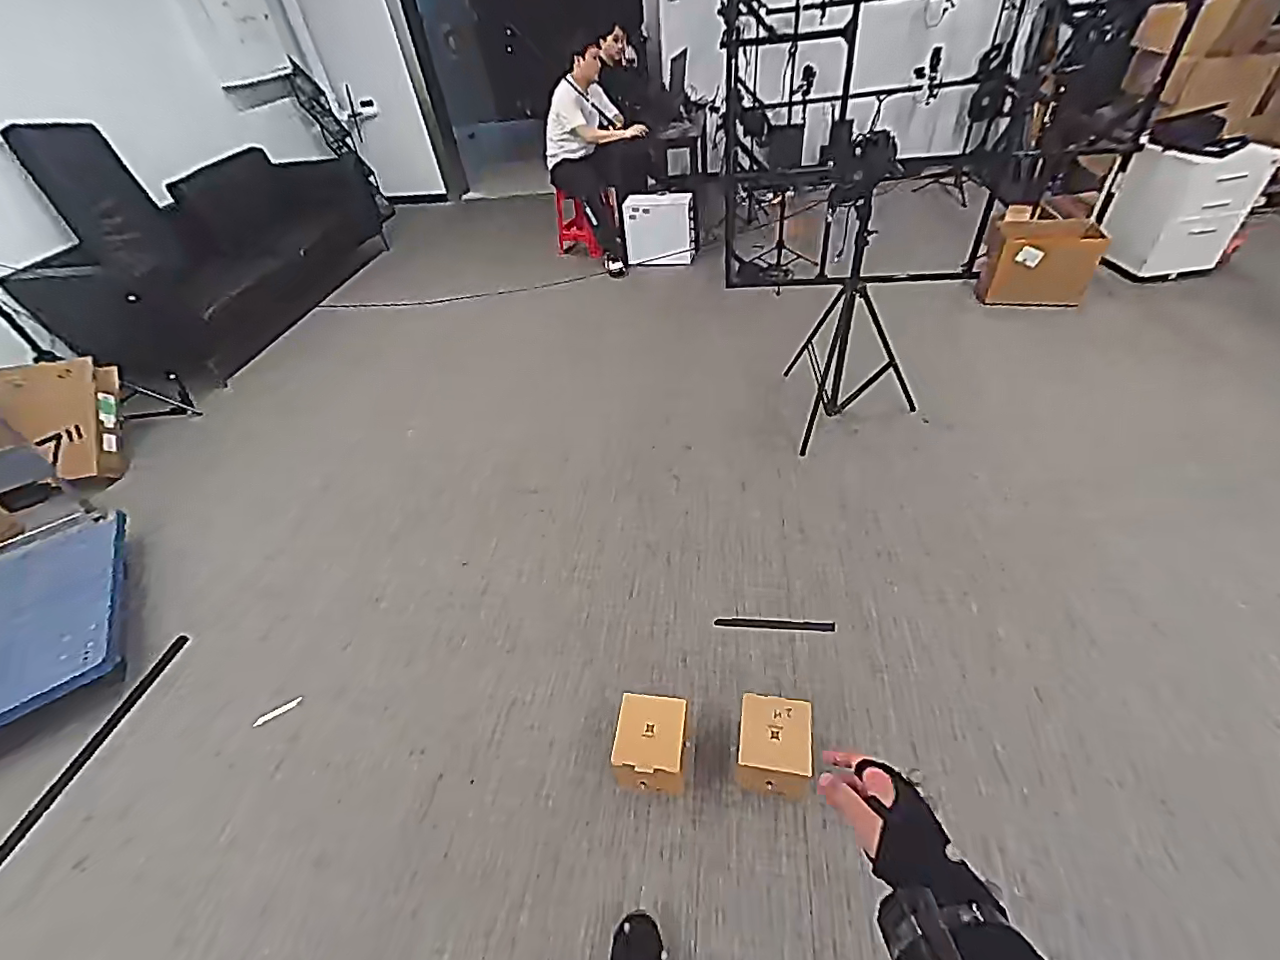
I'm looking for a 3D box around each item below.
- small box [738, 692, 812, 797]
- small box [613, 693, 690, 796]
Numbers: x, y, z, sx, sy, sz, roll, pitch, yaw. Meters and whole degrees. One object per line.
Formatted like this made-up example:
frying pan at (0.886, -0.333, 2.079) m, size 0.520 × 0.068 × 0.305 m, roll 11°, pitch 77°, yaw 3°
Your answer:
small box at (0.333, 0.655, 1.335) m, size 0.168 × 0.176 × 0.179 m, roll 4°, pitch 44°, yaw 12°
small box at (0.037, 0.669, 1.370) m, size 0.168 × 0.176 × 0.179 m, roll 1°, pitch 44°, yaw 11°
